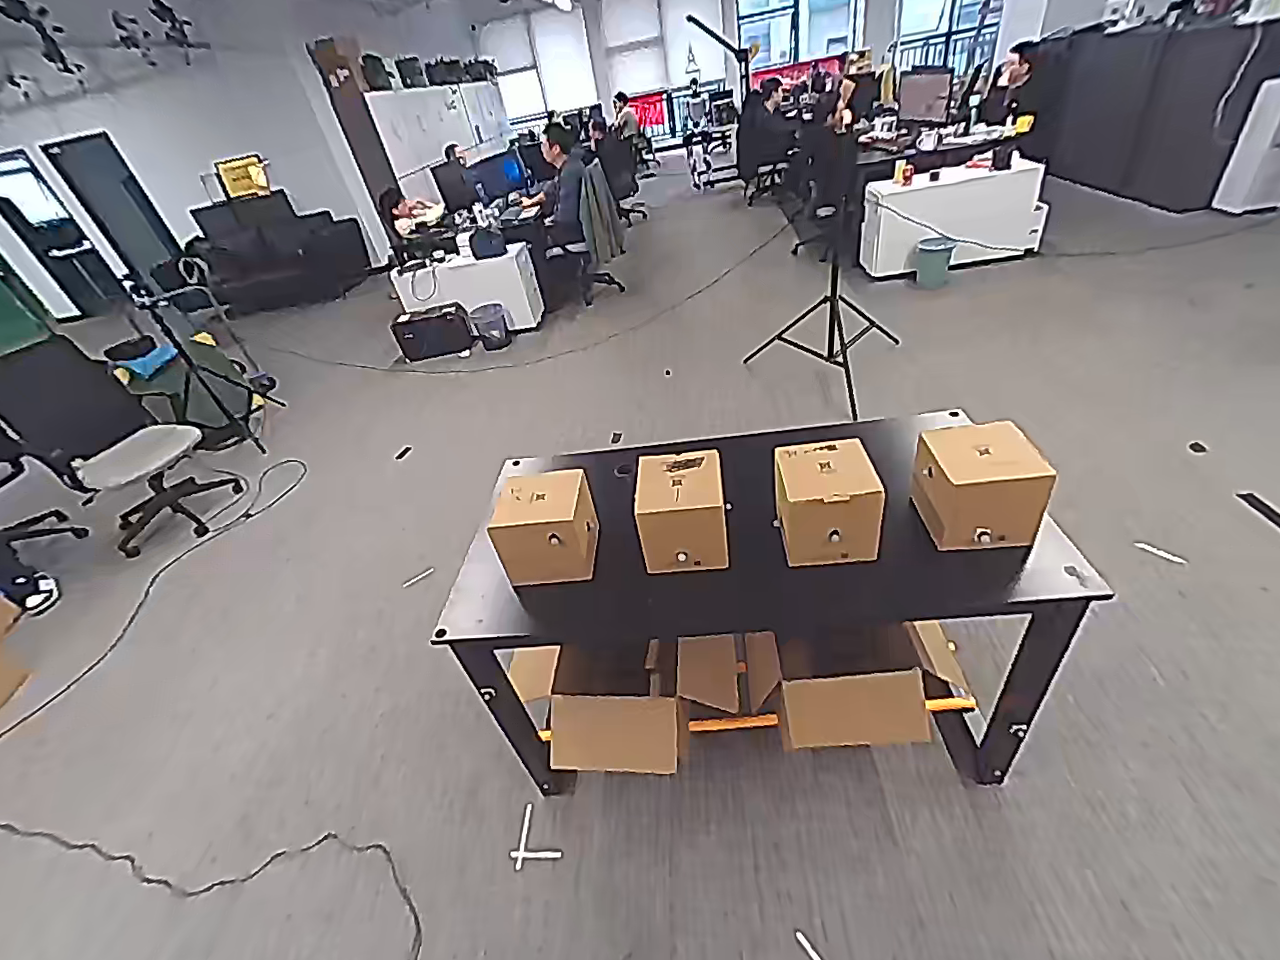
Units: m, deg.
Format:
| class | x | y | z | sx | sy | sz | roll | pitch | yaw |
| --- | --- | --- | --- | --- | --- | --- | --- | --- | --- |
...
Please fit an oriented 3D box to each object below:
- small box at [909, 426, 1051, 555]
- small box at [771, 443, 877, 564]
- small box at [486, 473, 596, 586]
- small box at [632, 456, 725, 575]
| class | x | y | z | sx | sy | sz | roll | pitch | yaw |
| --- | --- | --- | --- | --- | --- | --- | --- | --- | --- |
| small box | 0.629 | 0.019 | 1.028 | 0.168 | 0.176 | 0.179 | -7 | 37 | 10 |
| small box | 0.355 | 0.051 | 1.063 | 0.168 | 0.176 | 0.179 | -6 | 37 | 9 |
| small box | -0.198 | 0.106 | 1.142 | 0.179 | 0.176 | 0.168 | -6 | 36 | 7 |
| small box | 0.084 | 0.072 | 1.110 | 0.168 | 0.176 | 0.179 | -6 | 37 | 9 |
